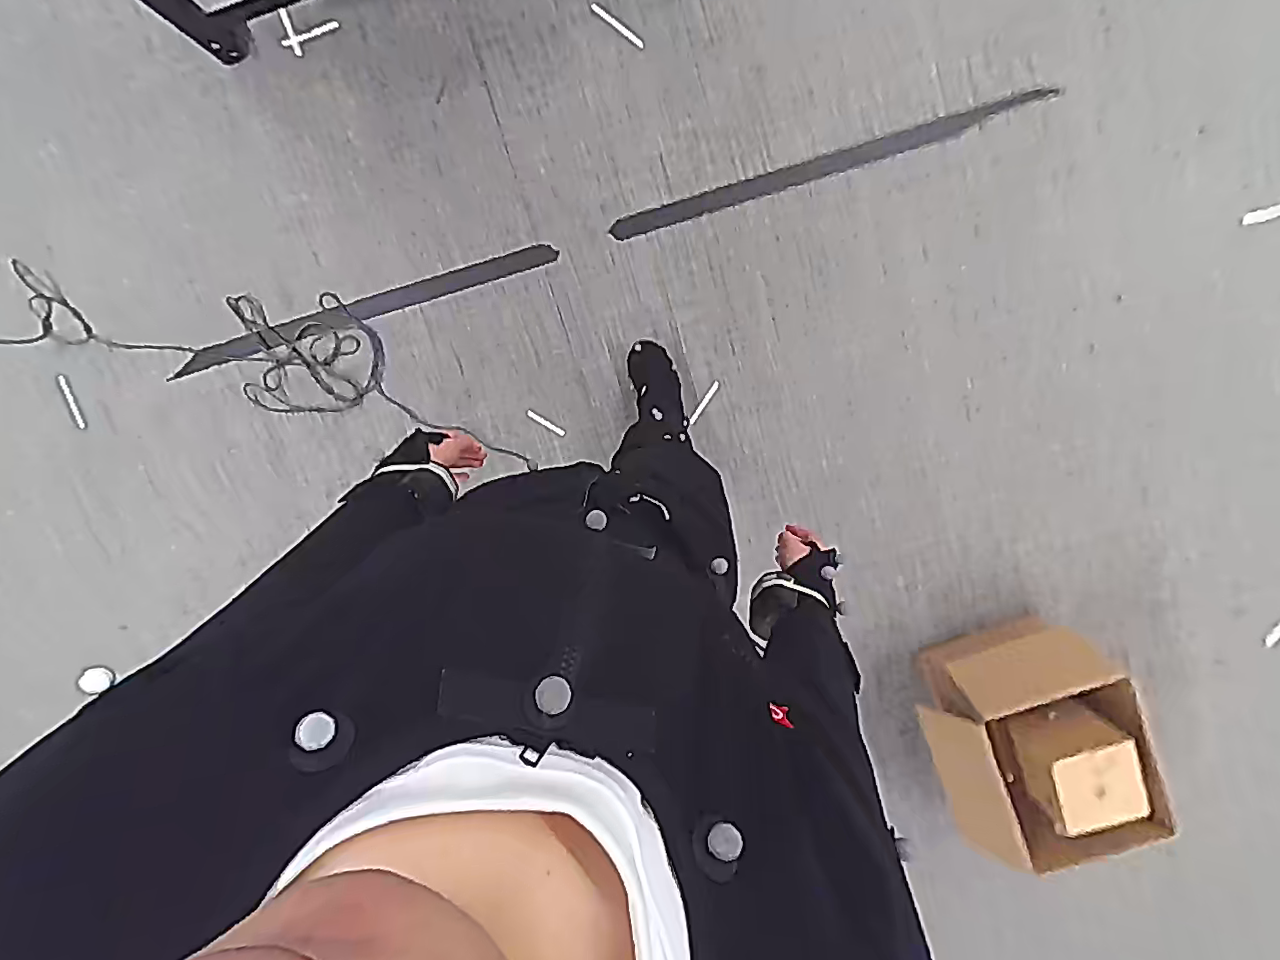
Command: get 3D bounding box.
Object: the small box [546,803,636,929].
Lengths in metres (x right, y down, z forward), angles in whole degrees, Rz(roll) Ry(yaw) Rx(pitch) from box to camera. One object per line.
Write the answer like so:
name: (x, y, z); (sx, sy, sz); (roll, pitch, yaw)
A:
small box: (-0.105, 0.876, 1.244); (0.168, 0.176, 0.179); (-9, 101, 6)

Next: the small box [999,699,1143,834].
small box: (0.926, 0.615, 1.176); (0.168, 0.176, 0.179); (-18, 97, 4)
